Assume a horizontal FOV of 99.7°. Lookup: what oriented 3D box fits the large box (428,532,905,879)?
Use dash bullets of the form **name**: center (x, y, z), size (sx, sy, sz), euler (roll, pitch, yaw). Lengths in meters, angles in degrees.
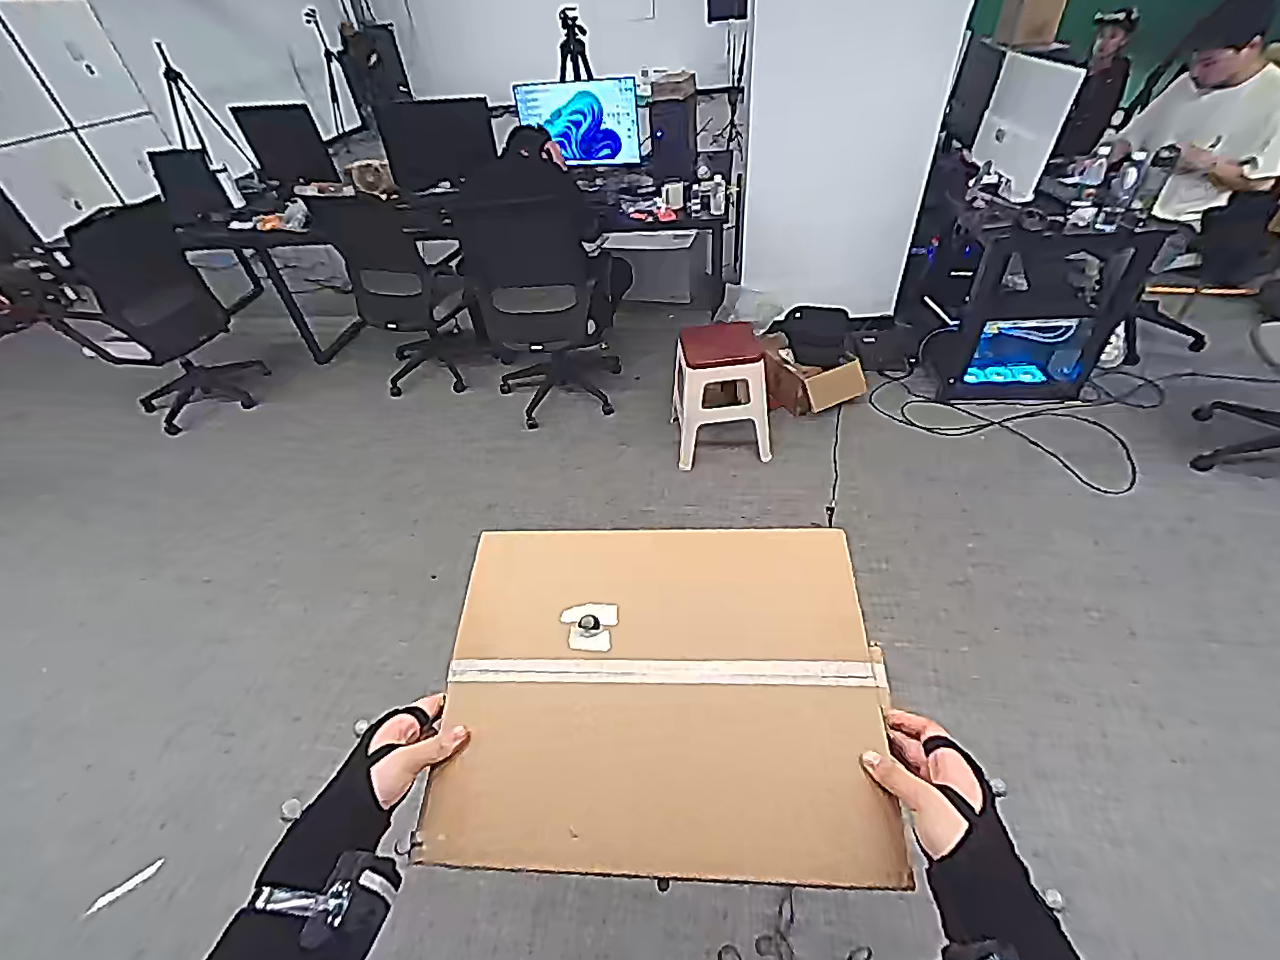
- **large box**: center (0.035, 0.277, 0.650), size (0.408, 0.320, 0.320), euler (-2, 54, 6)
